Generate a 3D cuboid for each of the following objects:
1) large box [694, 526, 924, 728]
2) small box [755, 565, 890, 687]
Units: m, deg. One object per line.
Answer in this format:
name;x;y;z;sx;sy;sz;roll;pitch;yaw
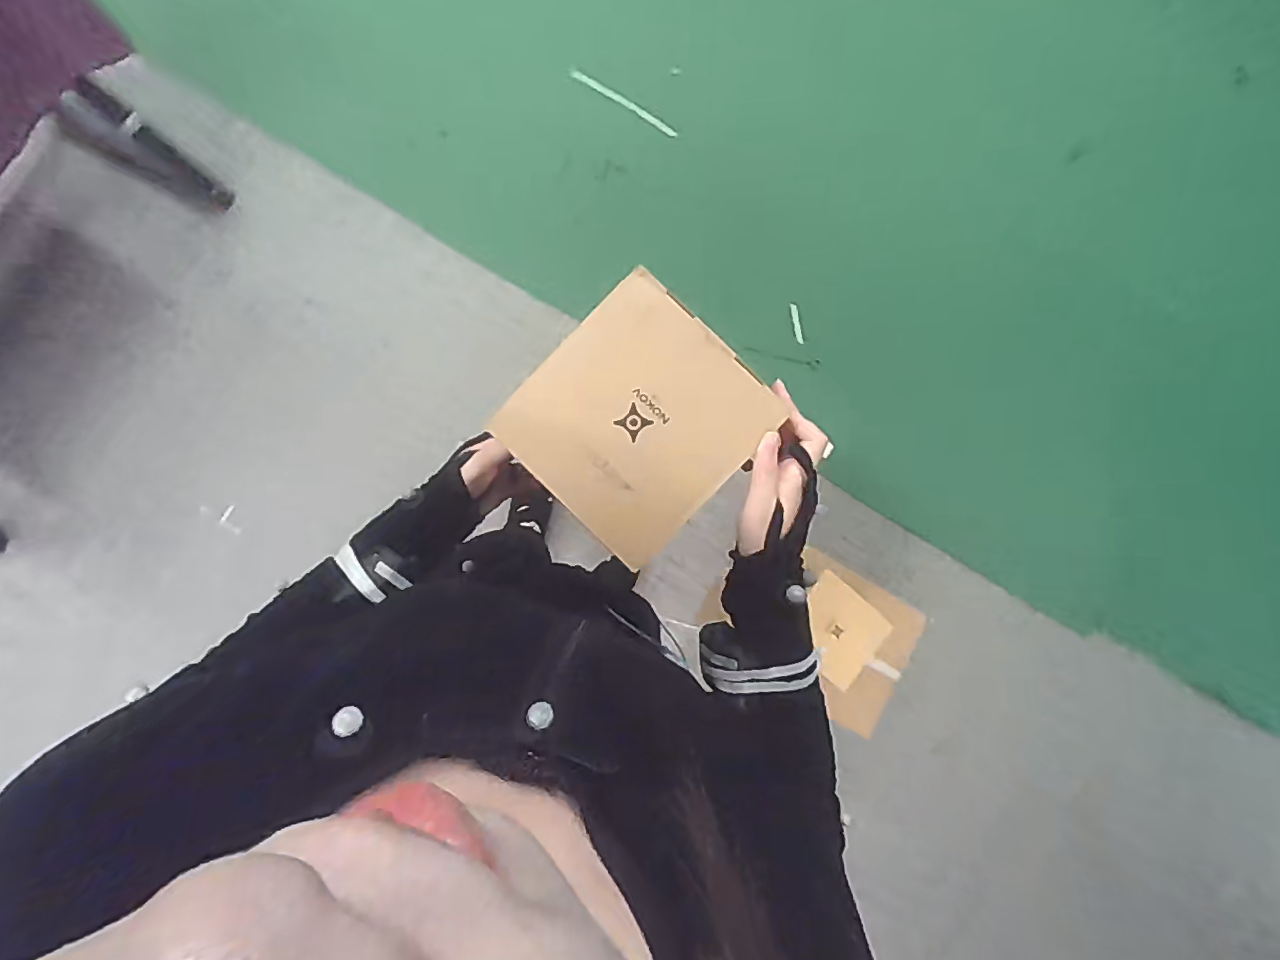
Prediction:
large box;0.399;0.342;1.373;0.408;0.320;0.320;31;85;-1
small box;0.371;0.291;1.130;0.179;0.176;0.168;42;84;1
